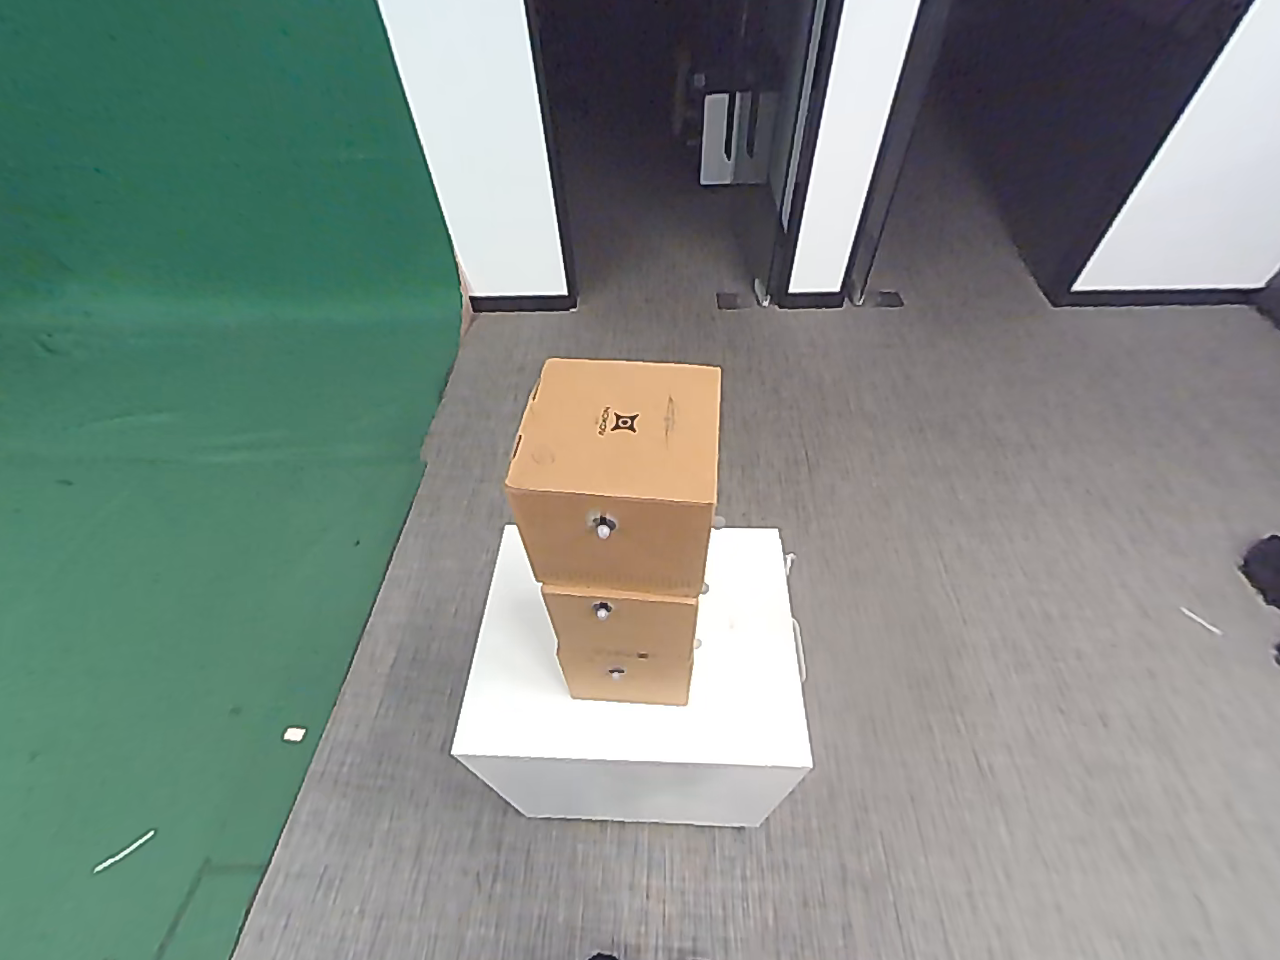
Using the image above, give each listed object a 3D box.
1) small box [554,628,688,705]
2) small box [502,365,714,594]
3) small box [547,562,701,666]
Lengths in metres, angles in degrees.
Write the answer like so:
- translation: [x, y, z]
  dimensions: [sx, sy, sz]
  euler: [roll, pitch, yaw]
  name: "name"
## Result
- translation: [-0.016, 0.219, 0.798]
  dimensions: [0.179, 0.176, 0.168]
  euler: [3, 50, 4]
  name: "small box"
- translation: [-0.019, 0.003, 0.555]
  dimensions: [0.179, 0.176, 0.168]
  euler: [4, 52, 5]
  name: "small box"
- translation: [-0.013, 0.113, 0.678]
  dimensions: [0.168, 0.176, 0.179]
  euler: [2, 50, 2]
  name: "small box"
